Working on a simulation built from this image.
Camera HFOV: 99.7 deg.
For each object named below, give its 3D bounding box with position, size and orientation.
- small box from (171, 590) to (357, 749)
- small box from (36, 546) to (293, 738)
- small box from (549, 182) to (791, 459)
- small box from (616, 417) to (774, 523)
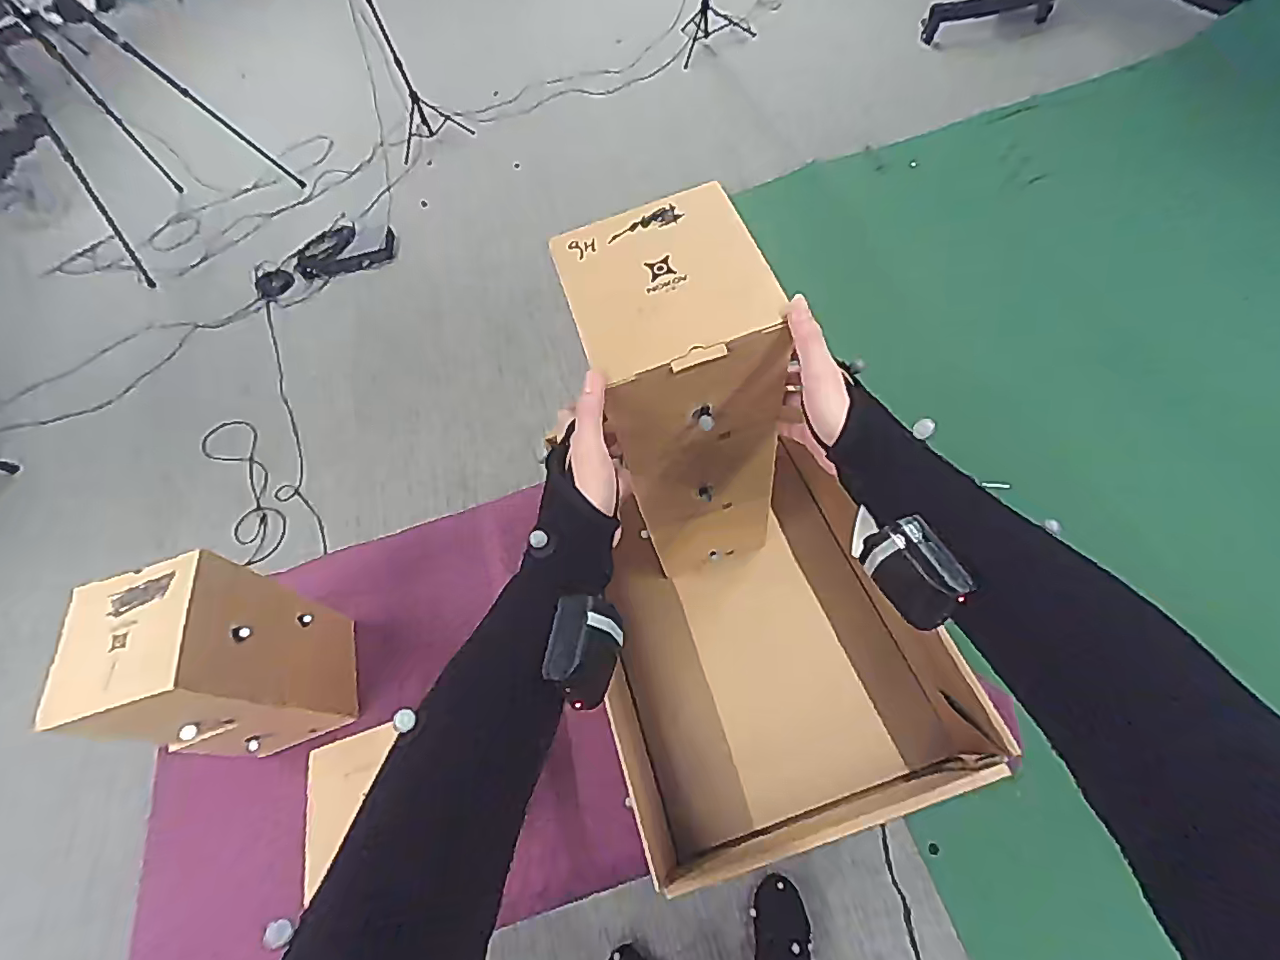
[{"bbox_3d":[-0.563,0.300,0.835,0.168,0.176,0.179,-21,58,-2],"label":"small box"},{"bbox_3d":[-0.584,0.213,0.697,0.168,0.176,0.179,-17,59,1],"label":"small box"},{"bbox_3d":[0.030,-0.138,0.525,0.168,0.176,0.179,-19,65,0],"label":"small box"},{"bbox_3d":[0.057,-0.062,0.673,0.168,0.176,0.179,-18,60,0],"label":"small box"}]
